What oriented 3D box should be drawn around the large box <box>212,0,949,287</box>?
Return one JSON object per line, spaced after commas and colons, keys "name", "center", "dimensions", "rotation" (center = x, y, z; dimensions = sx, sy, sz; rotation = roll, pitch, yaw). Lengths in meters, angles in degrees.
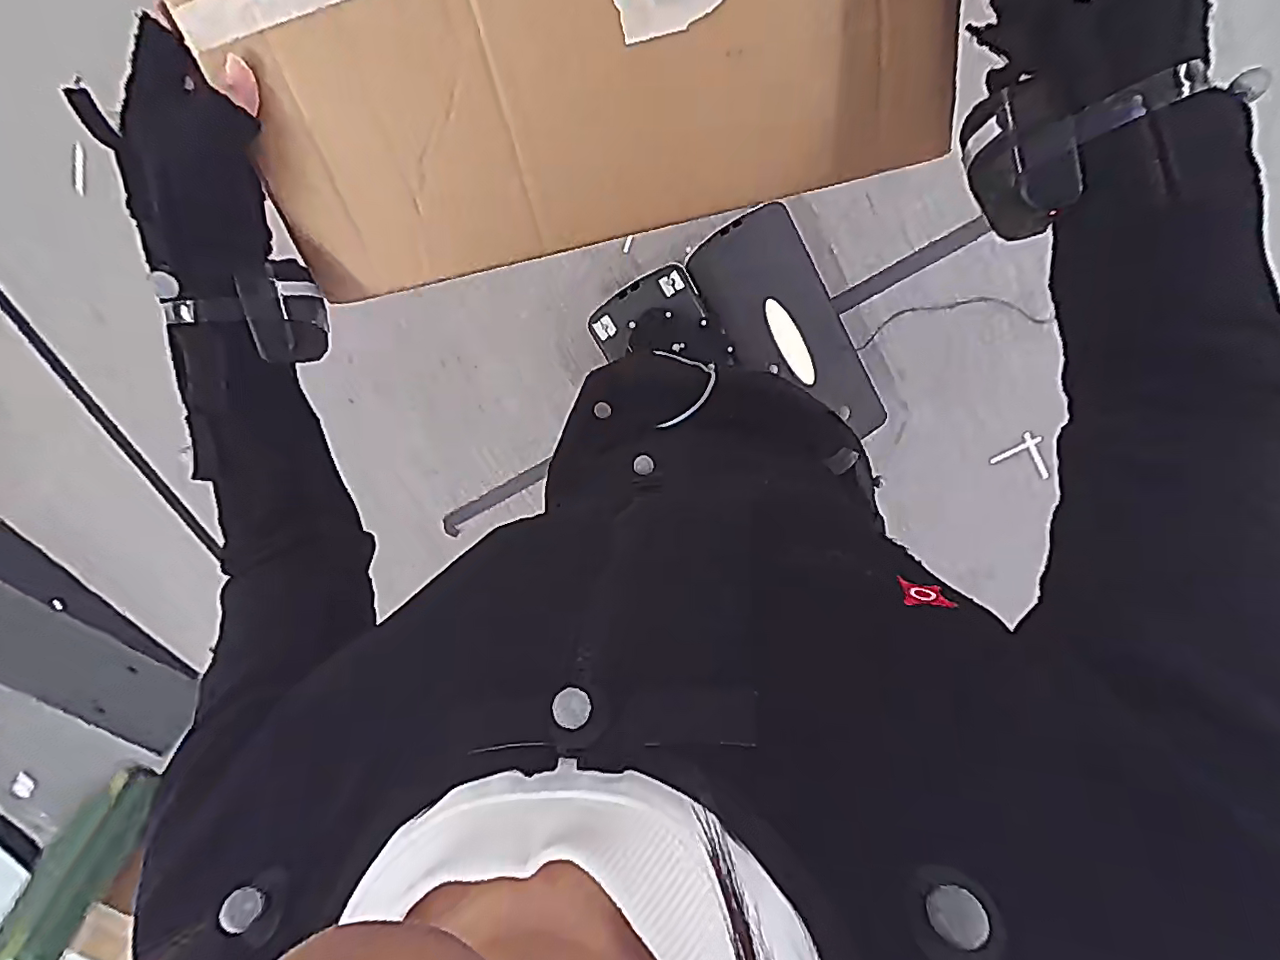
{"name": "large box", "center": [-0.039, -0.373, 0.401], "dimensions": [0.408, 0.320, 0.320], "rotation": [-8, 121, 12]}
